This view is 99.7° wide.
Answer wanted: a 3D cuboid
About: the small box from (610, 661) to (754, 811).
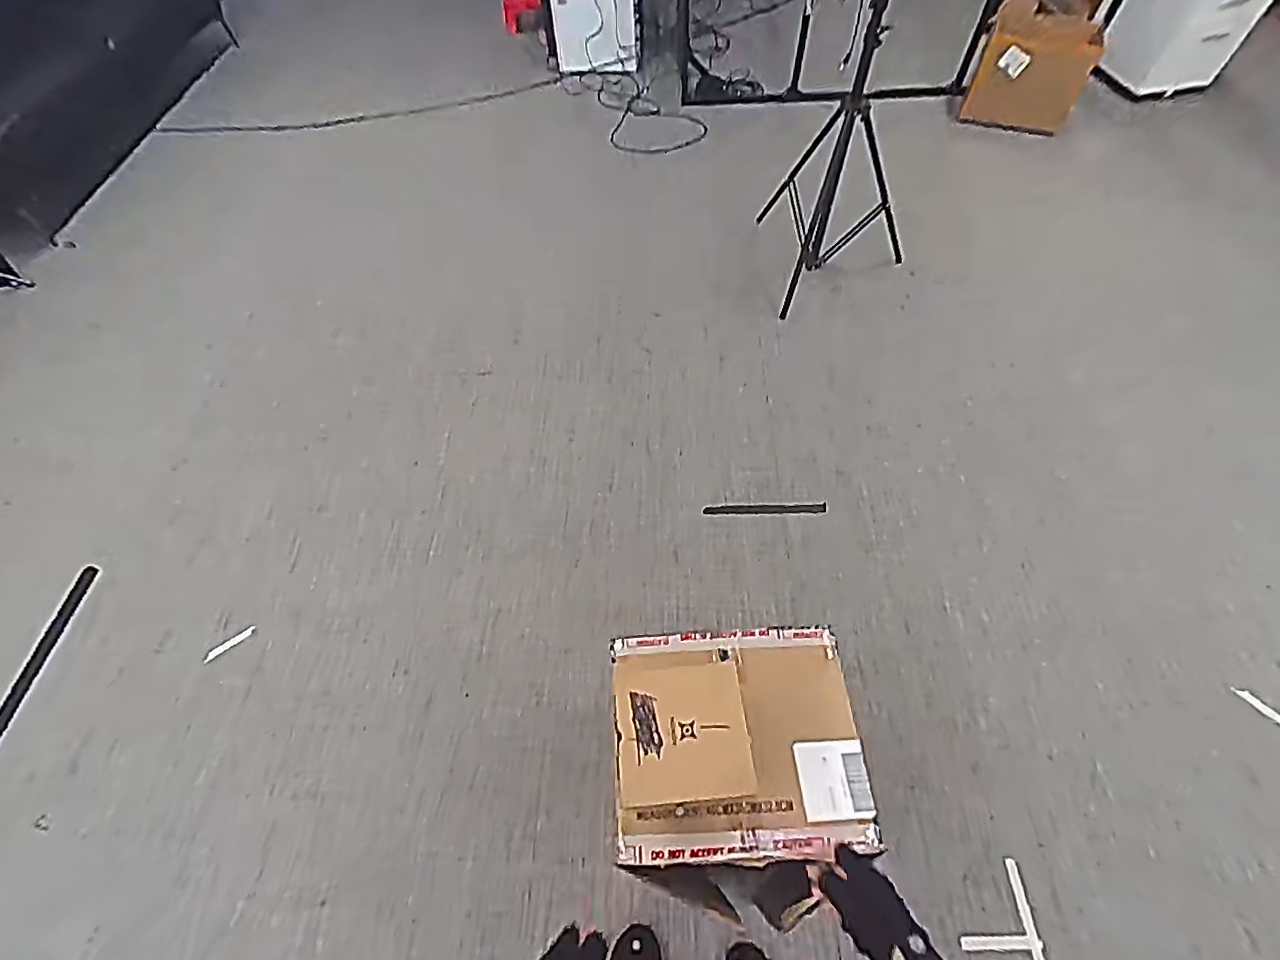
[{"bbox_3d":[0.057,0.373,0.779,0.179,0.176,0.168,-6,57,0],"label":"small box"}]
